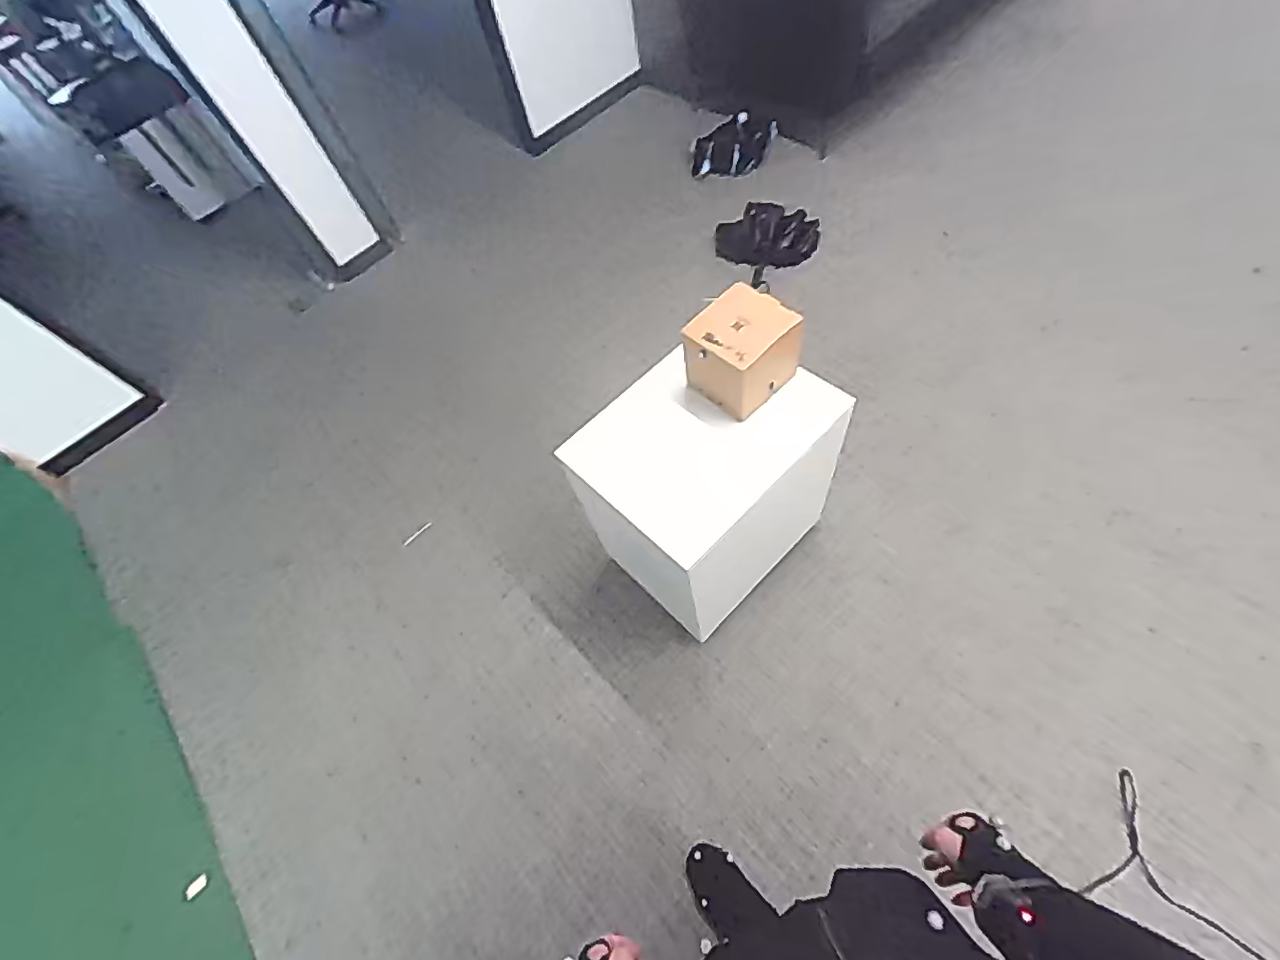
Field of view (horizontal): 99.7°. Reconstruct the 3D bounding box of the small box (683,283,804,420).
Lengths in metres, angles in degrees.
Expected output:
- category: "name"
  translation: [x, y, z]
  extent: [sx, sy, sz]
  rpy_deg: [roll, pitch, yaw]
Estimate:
- category: "small box"
  translation: [0.205, -0.260, 1.108]
  extent: [0.179, 0.176, 0.168]
  rpy_deg: [-40, 62, -16]
